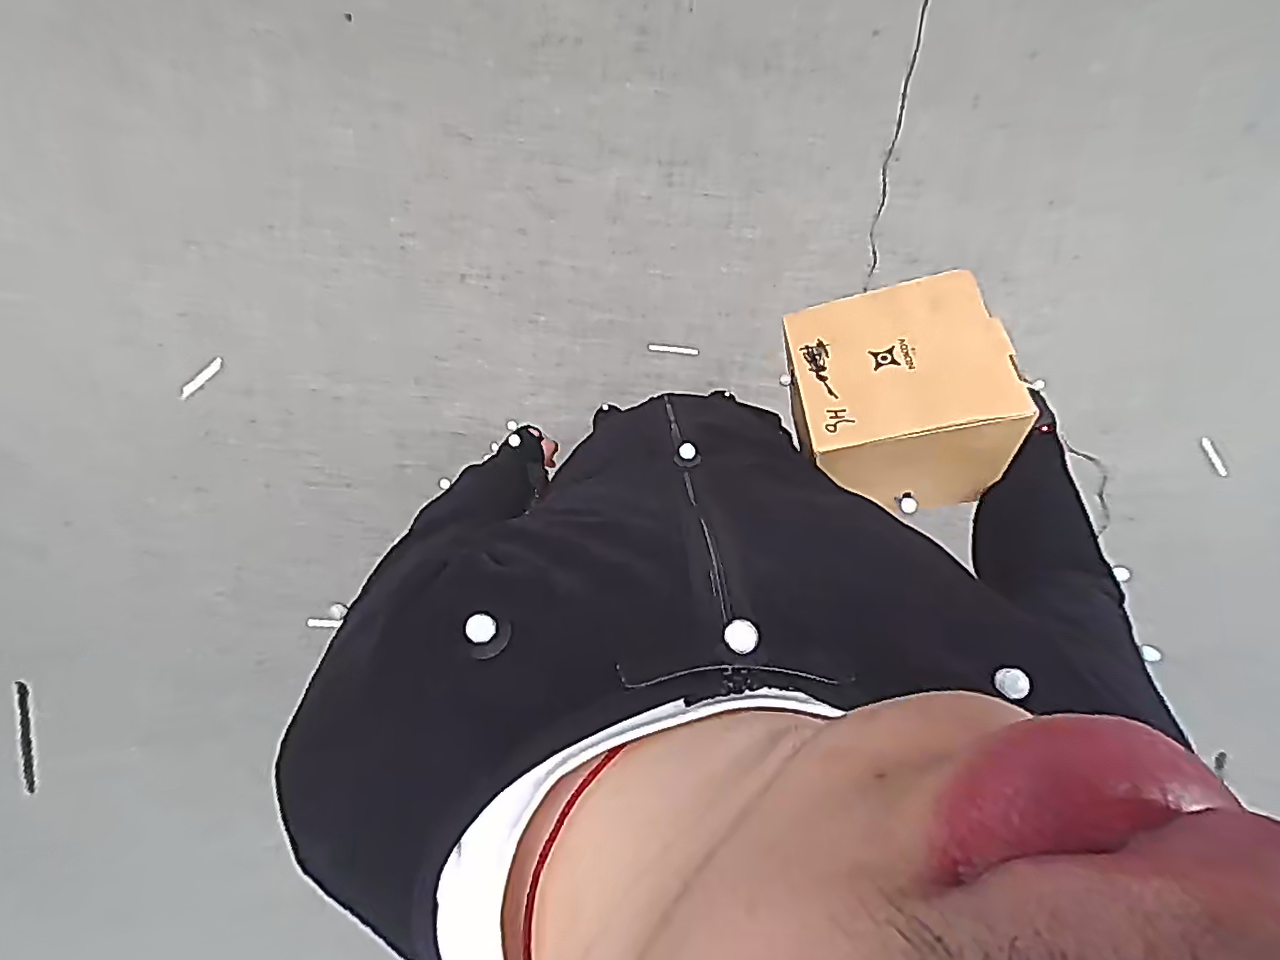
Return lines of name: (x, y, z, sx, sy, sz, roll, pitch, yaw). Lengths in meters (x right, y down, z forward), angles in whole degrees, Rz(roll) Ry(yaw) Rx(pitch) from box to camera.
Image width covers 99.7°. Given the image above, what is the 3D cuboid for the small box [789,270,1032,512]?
small box: (0.261, -0.081, 0.568, 0.179, 0.176, 0.168, -11, 60, 14)
